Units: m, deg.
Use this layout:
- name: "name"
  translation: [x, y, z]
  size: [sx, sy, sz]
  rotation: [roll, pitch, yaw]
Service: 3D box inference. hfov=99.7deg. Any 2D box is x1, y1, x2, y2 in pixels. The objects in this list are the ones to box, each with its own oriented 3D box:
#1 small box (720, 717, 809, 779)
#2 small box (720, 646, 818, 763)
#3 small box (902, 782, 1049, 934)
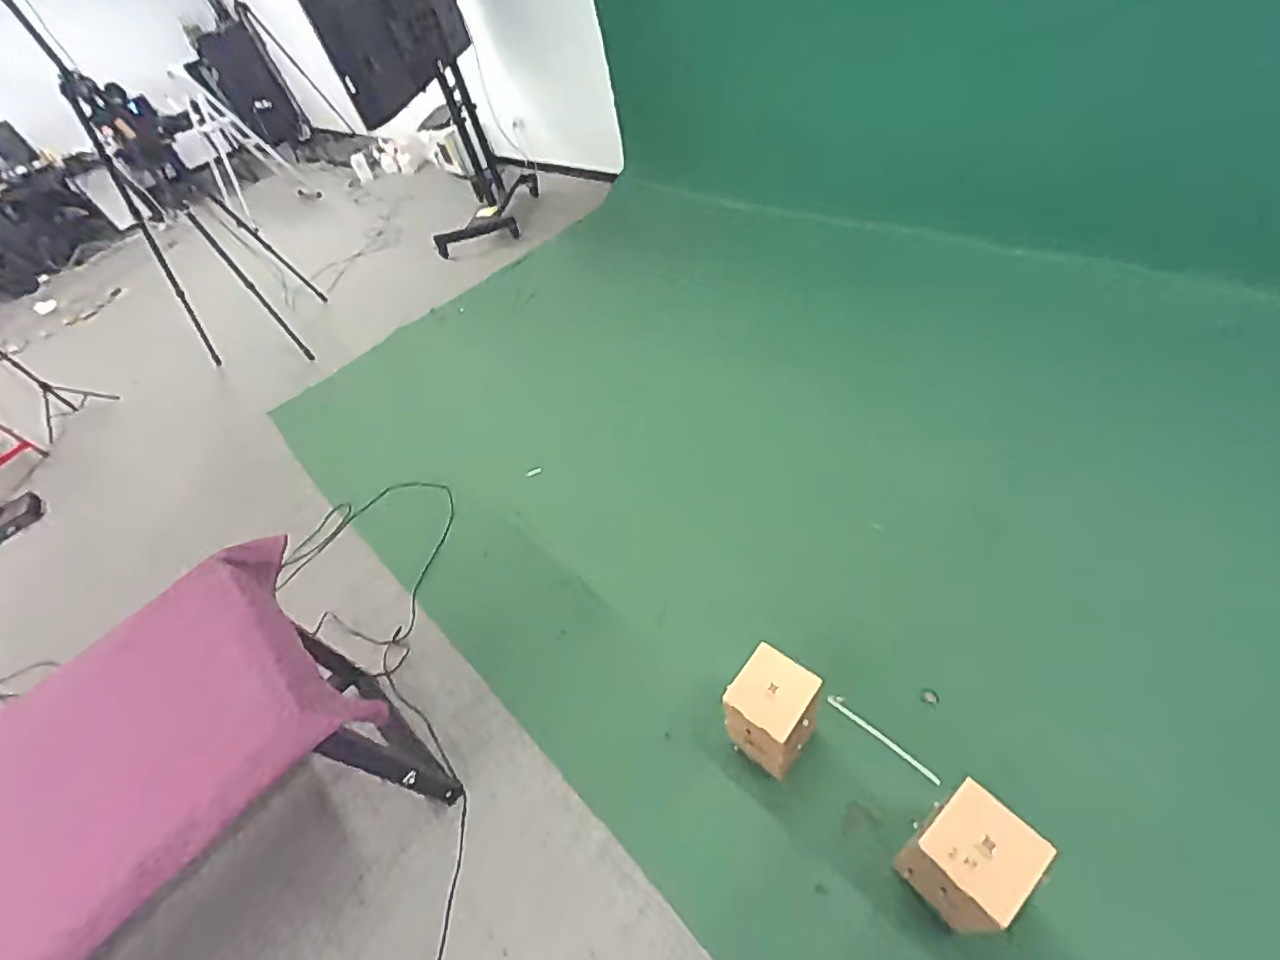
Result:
- name: "small box"
  translation: [0.337, 0.656, 1.435]
  size: [0.168, 0.176, 0.179]
  rotation: [30, 61, 34]
- name: "small box"
  translation: [0.313, 0.547, 1.317]
  size: [0.168, 0.176, 0.179]
  rotation: [28, 62, 33]
- name: "small box"
  translation: [0.642, 0.739, 1.059]
  size: [0.179, 0.176, 0.168]
  rotation: [-37, 51, -17]
